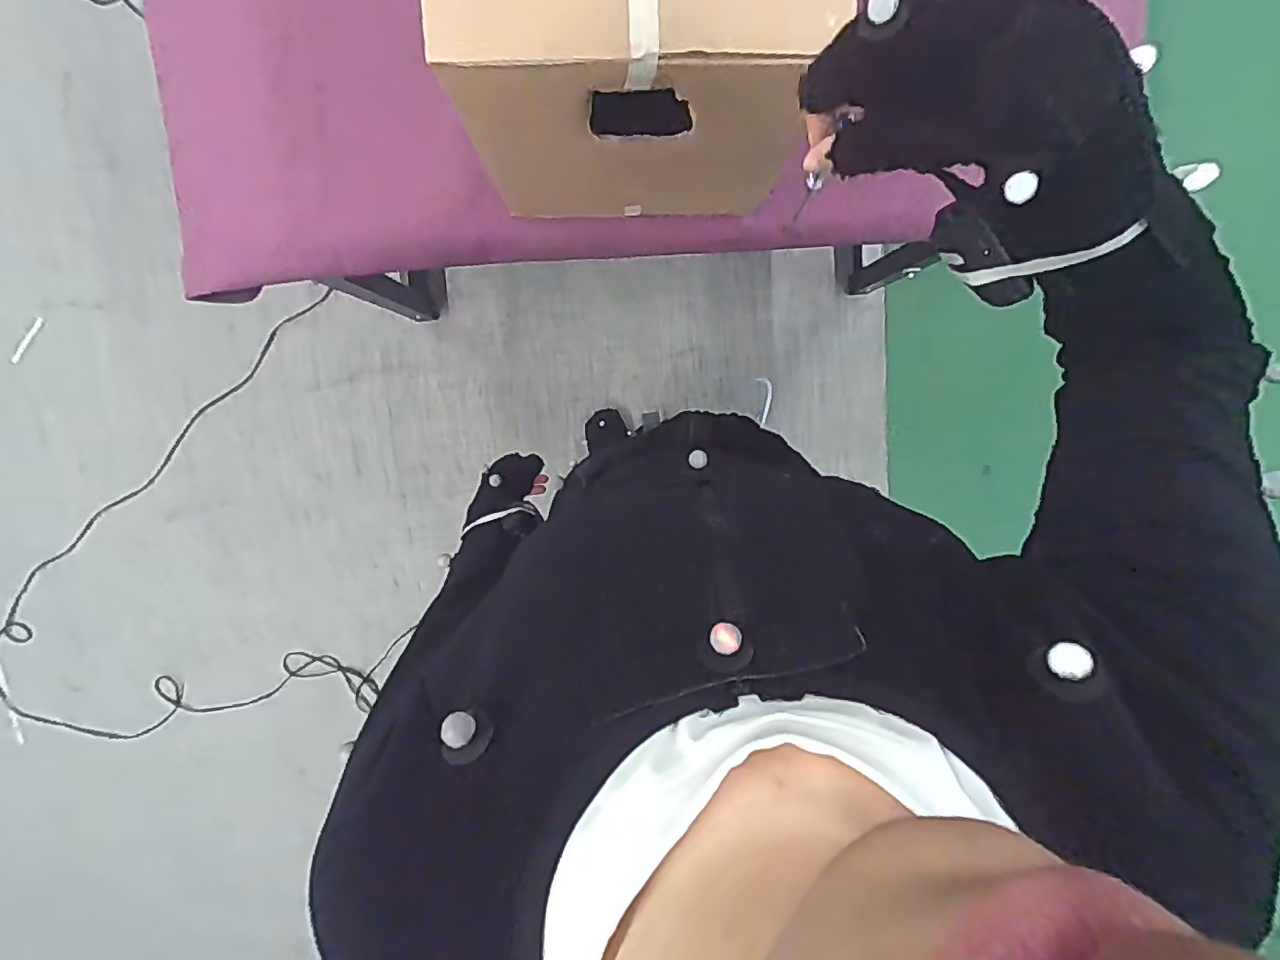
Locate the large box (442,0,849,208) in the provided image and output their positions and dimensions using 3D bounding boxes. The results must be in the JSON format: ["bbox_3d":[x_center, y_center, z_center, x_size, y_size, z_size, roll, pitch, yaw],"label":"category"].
[{"bbox_3d":[-0.008,-0.529,0.528,0.320,0.320,0.408,-2,99,-2],"label":"large box"}]
